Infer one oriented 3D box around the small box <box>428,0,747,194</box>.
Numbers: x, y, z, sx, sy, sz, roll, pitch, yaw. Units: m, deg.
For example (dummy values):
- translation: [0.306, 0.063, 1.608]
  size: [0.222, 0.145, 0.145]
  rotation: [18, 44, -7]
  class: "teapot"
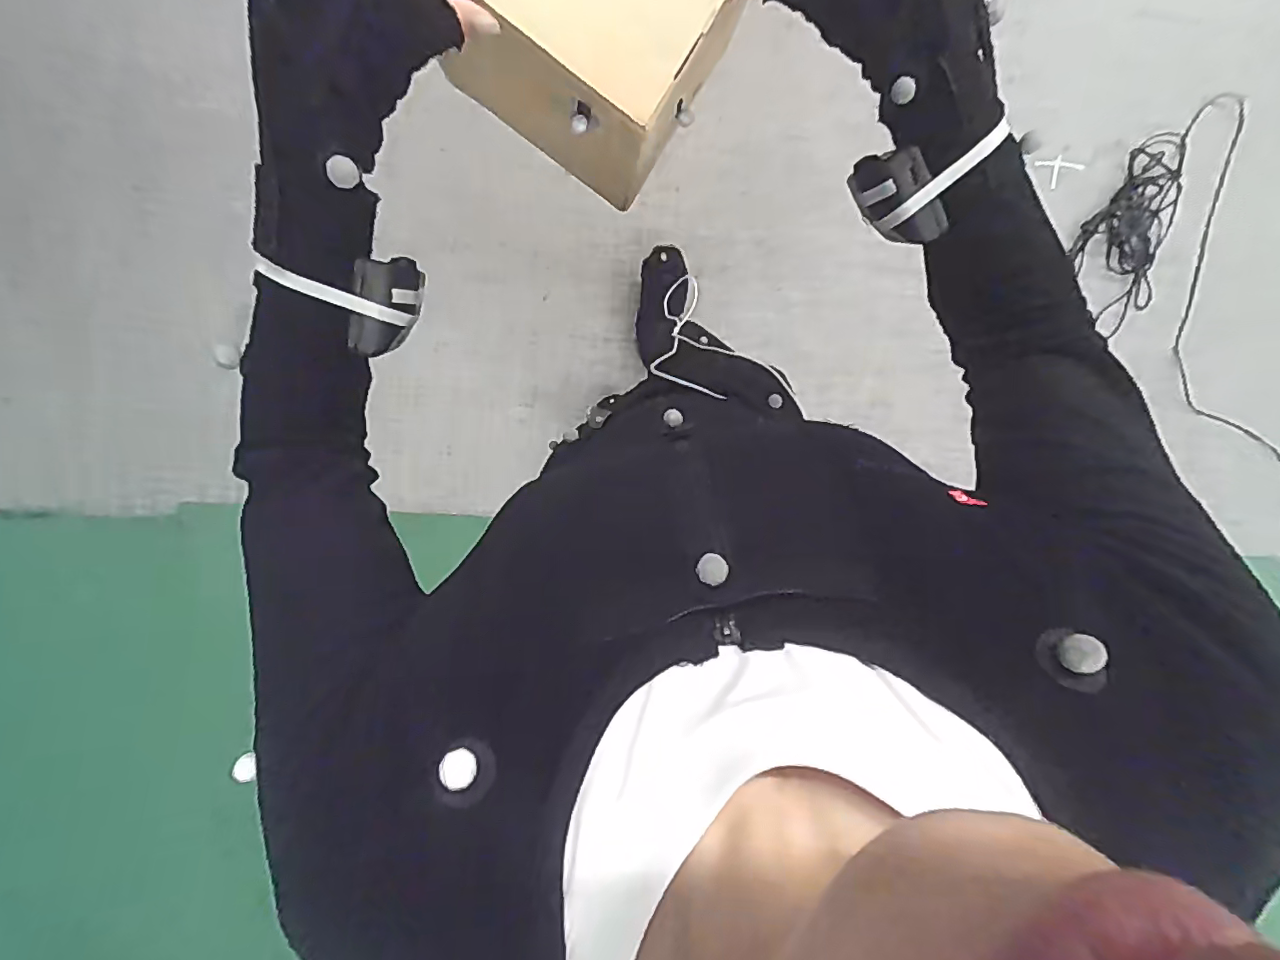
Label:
- translation: [-0.032, -0.334, 0.370]
  size: [0.179, 0.176, 0.168]
  rotation: [32, 97, -12]
  class: "small box"
